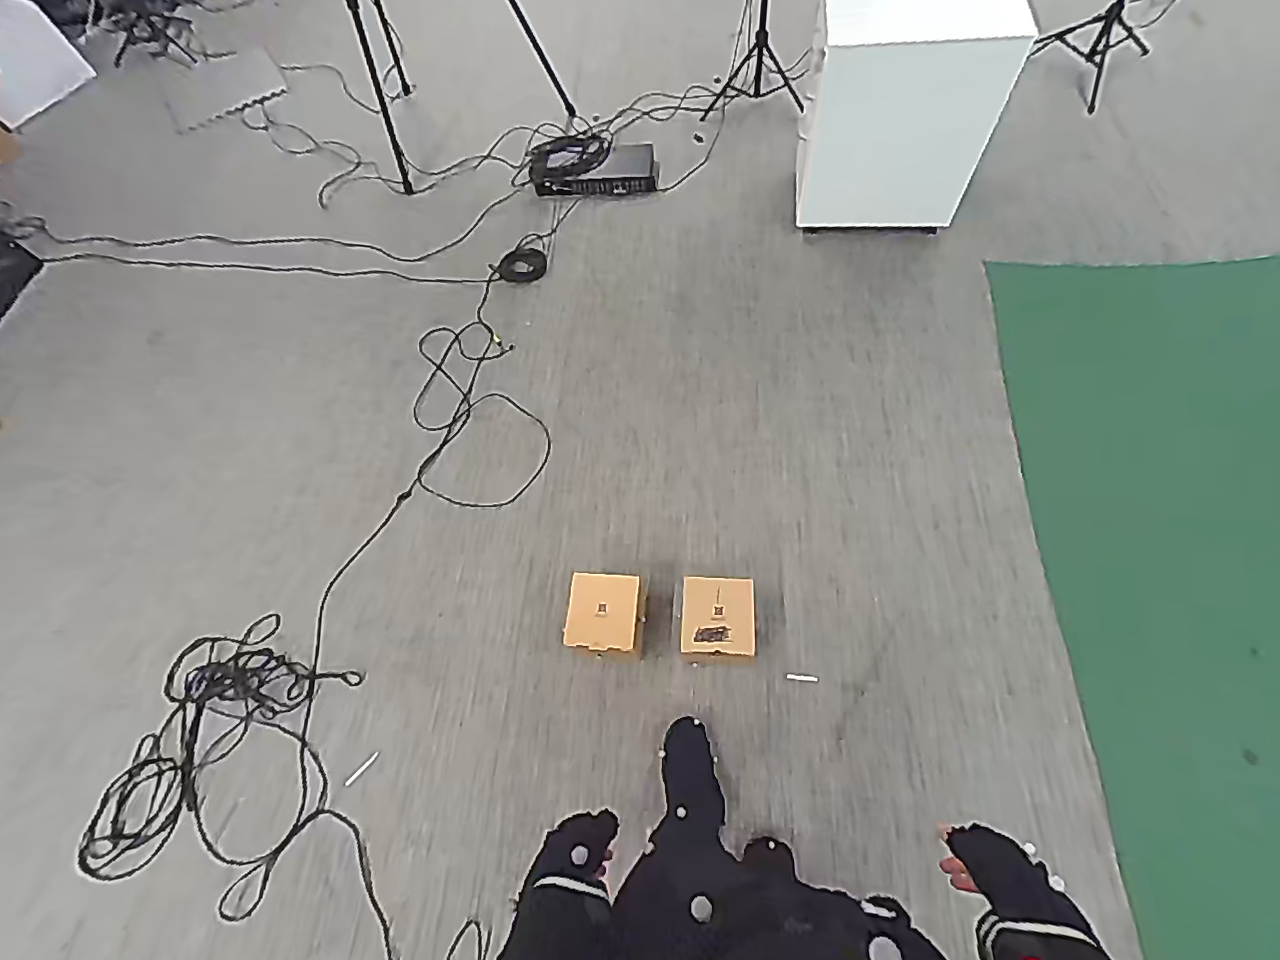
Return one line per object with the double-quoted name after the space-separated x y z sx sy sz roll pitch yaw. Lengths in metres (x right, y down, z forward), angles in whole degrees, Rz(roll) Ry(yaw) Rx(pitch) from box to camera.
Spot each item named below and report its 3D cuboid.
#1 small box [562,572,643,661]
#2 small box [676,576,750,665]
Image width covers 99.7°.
-0.085 0.341 1.346 0.168 0.176 0.179 2 64 8 "small box"
0.179 0.345 1.310 0.168 0.176 0.179 2 63 7 "small box"
